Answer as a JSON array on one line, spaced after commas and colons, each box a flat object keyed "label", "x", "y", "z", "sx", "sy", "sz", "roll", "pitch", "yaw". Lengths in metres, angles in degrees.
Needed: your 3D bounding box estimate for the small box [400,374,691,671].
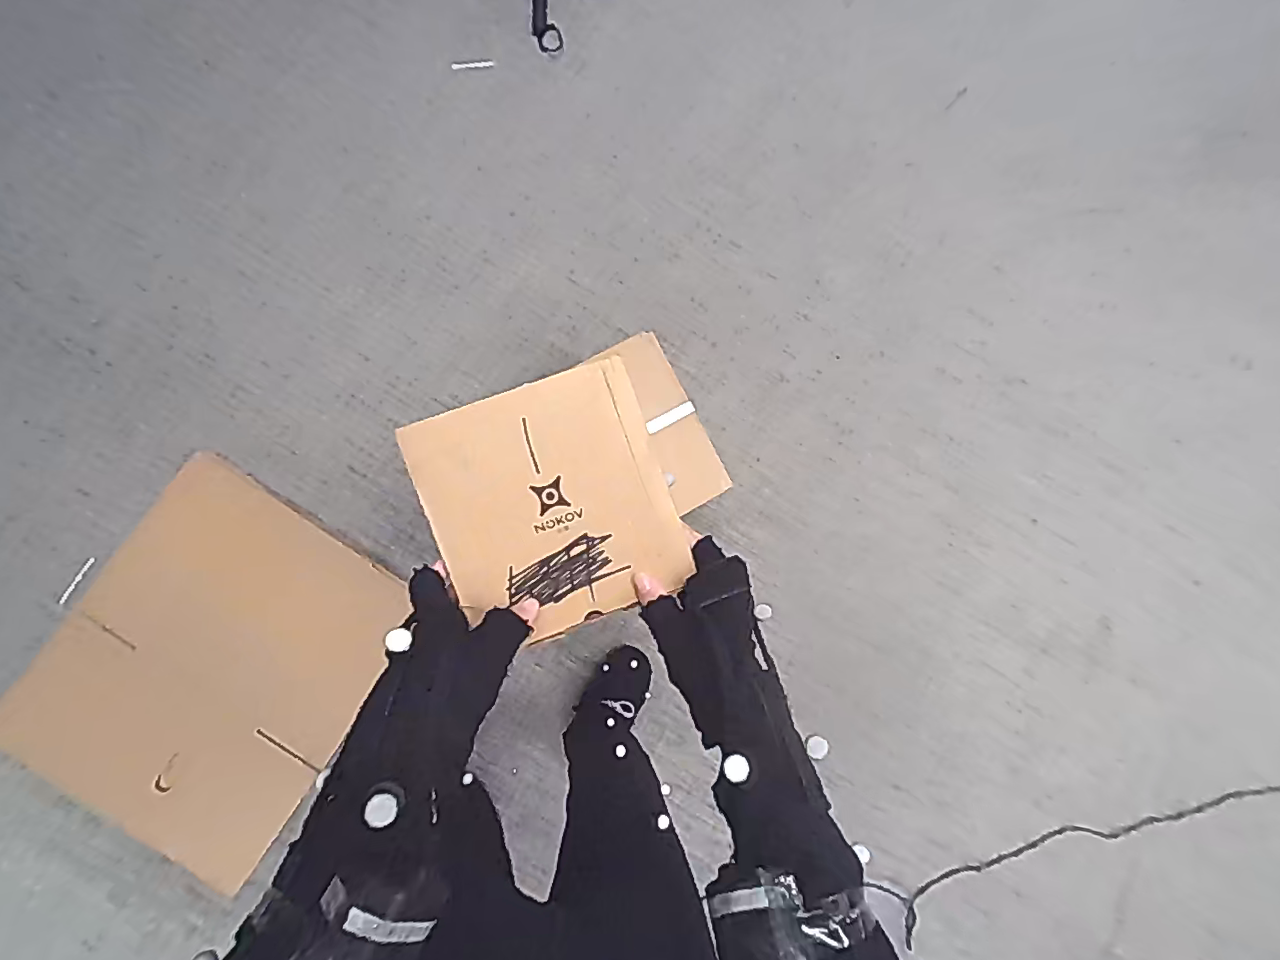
[{"label": "small box", "x": -0.071, "y": 0.028, "z": 0.466, "sx": 0.168, "sy": 0.176, "sz": 0.179, "roll": -20, "pitch": 92, "yaw": -6}]
